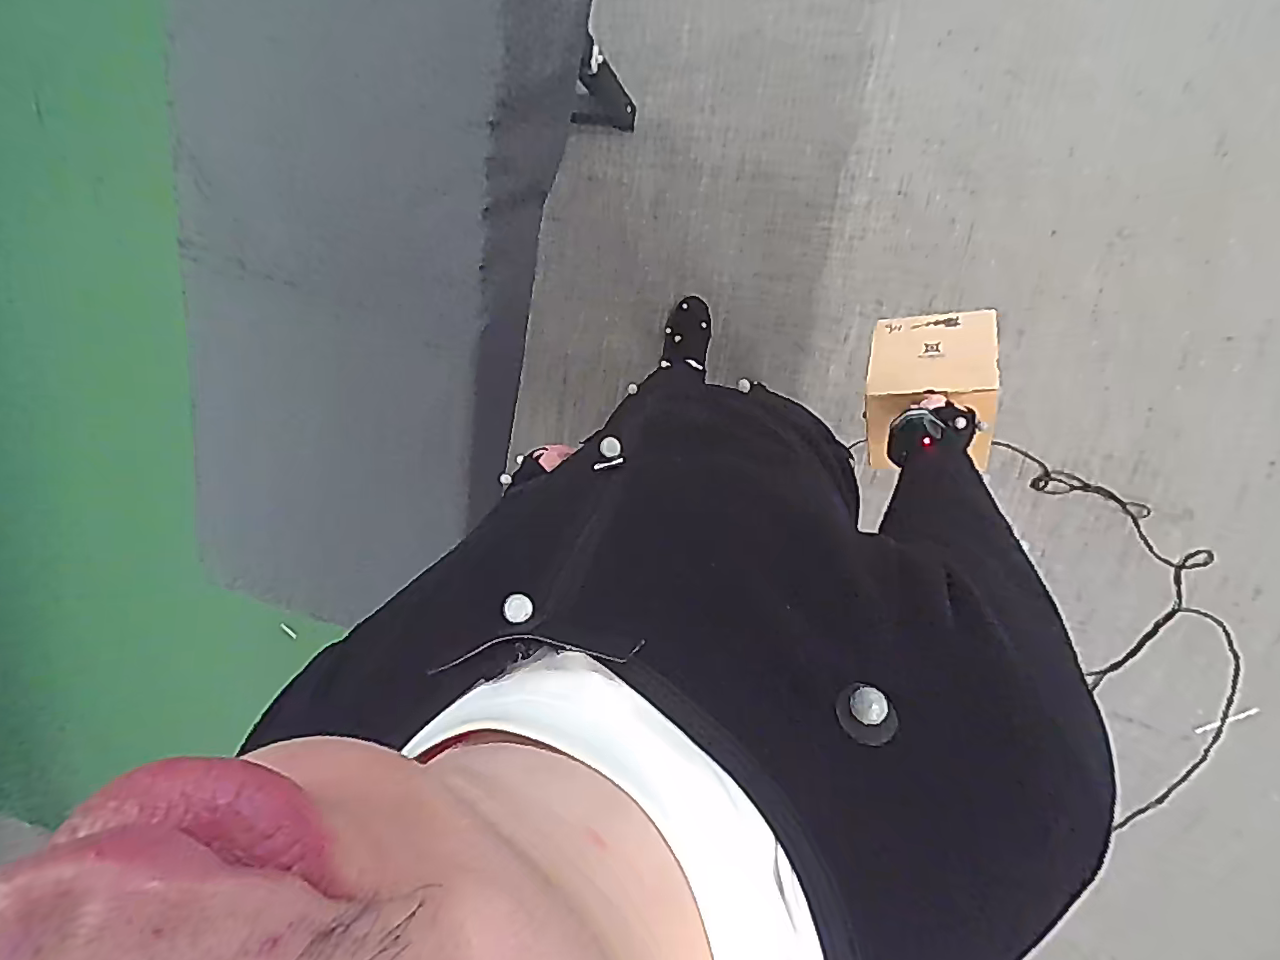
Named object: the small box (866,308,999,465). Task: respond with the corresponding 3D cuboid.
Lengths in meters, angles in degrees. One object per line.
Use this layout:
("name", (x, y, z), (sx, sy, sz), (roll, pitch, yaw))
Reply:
("small box", (0.453, -0.136, 0.843), (0.168, 0.179, 0.176), (0, 141, 27))
